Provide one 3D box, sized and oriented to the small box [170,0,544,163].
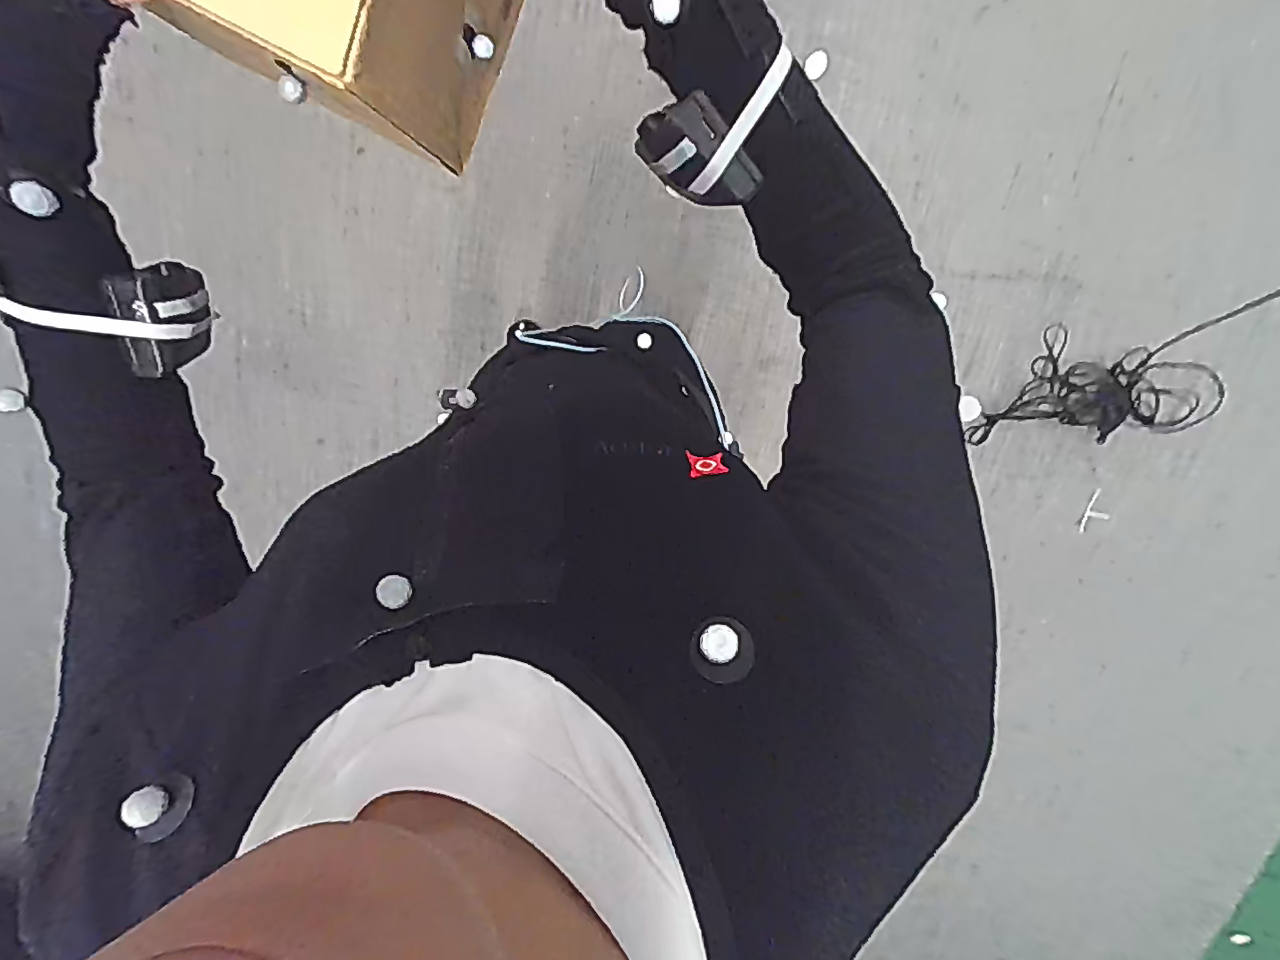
[{"bbox_3d":[-0.165,-0.310,0.298,0.179,0.176,0.168,25,105,-8],"label":"small box"}]
